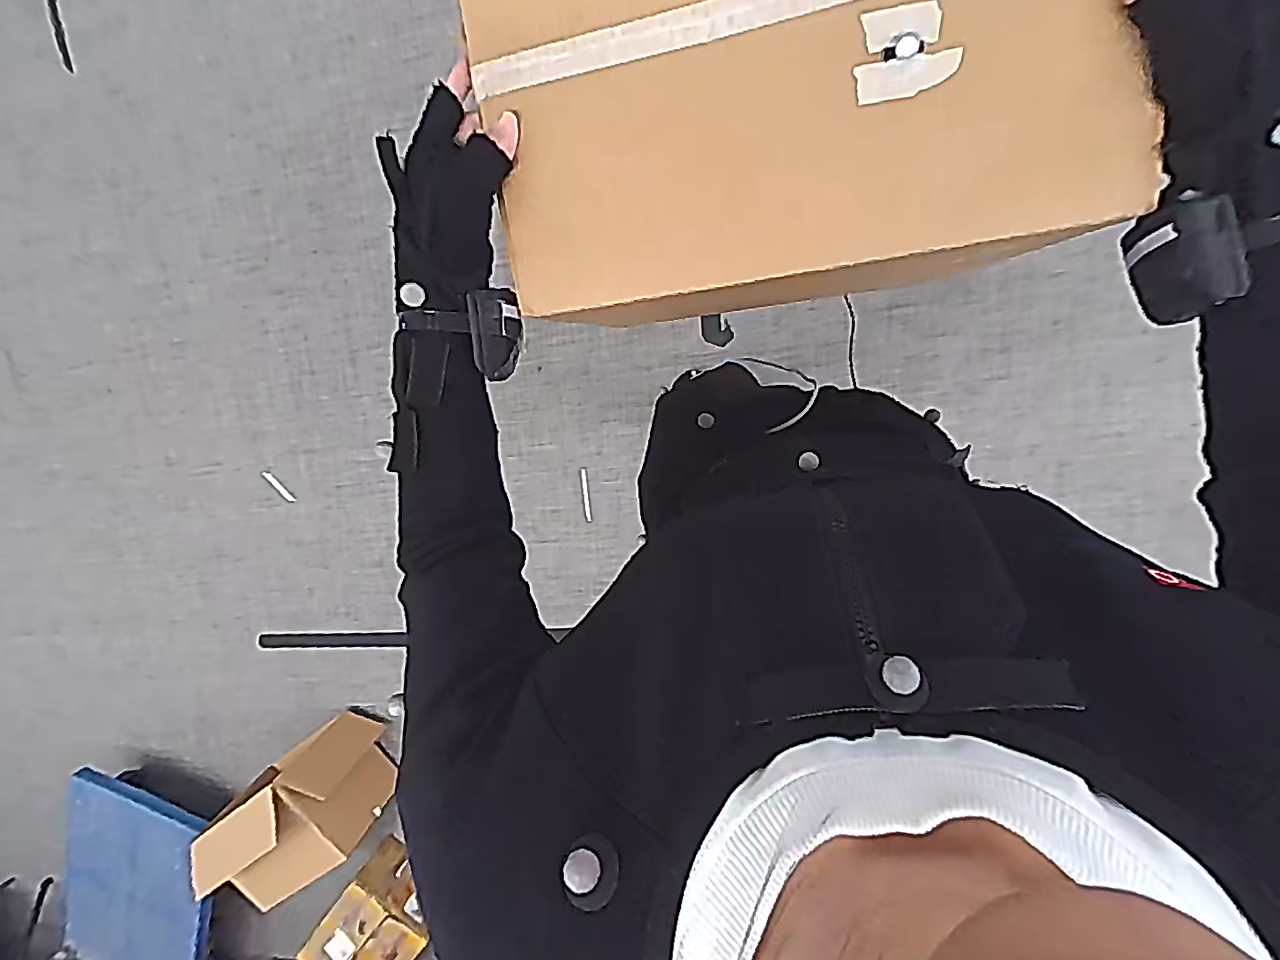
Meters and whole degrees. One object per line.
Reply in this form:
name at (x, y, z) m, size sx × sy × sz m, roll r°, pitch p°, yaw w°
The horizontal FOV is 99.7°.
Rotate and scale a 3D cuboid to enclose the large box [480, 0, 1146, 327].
large box at (0.114, -0.332, 0.483) m, size 0.408 × 0.320 × 0.320 m, roll -6°, pitch 103°, yaw 11°
